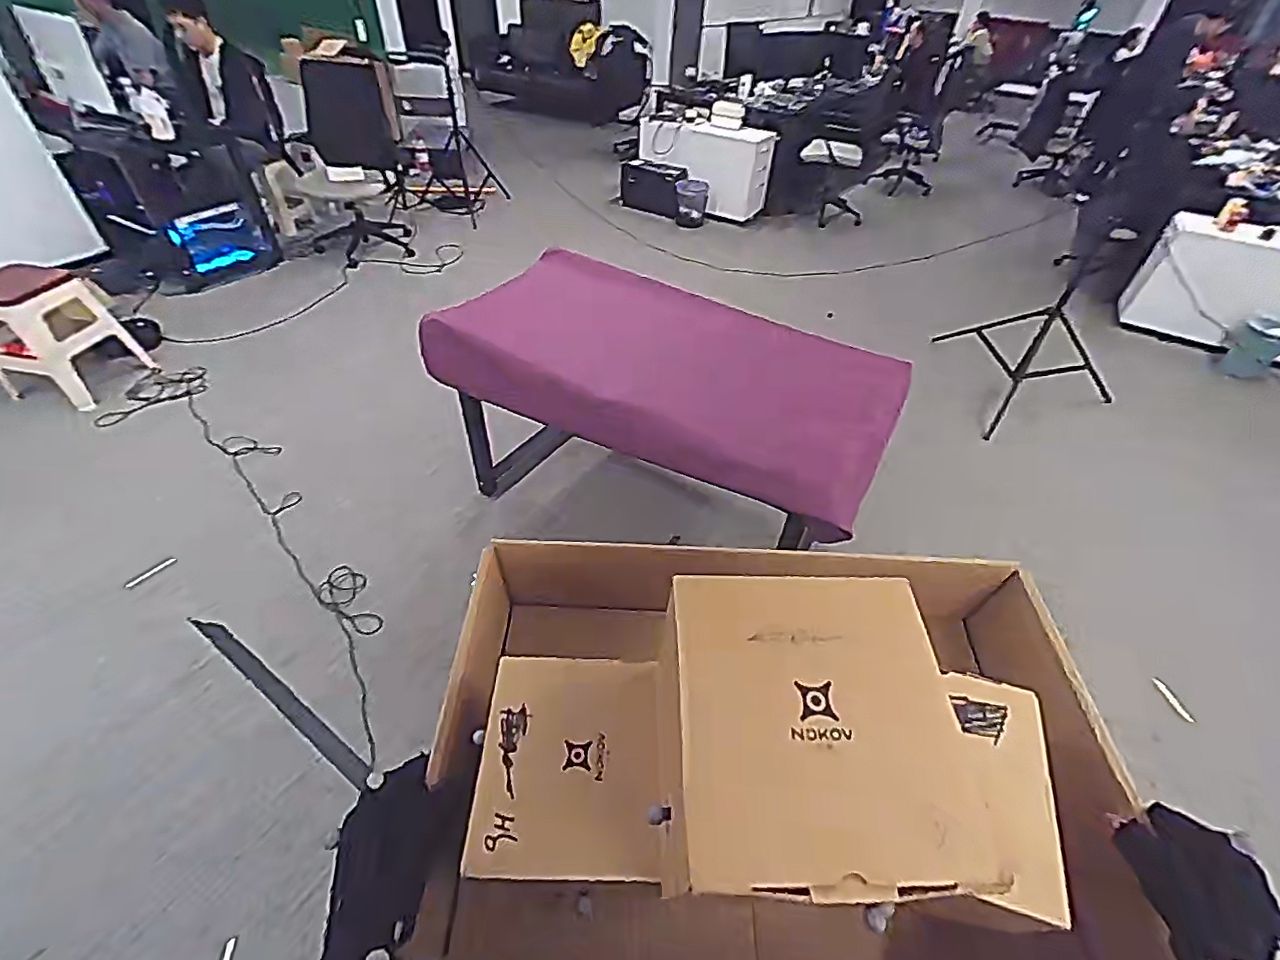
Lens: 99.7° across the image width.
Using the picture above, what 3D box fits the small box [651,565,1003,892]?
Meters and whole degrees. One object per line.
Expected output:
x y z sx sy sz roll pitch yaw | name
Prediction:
0.095 0.177 0.378 0.168 0.176 0.179 1 50 -3 | small box
